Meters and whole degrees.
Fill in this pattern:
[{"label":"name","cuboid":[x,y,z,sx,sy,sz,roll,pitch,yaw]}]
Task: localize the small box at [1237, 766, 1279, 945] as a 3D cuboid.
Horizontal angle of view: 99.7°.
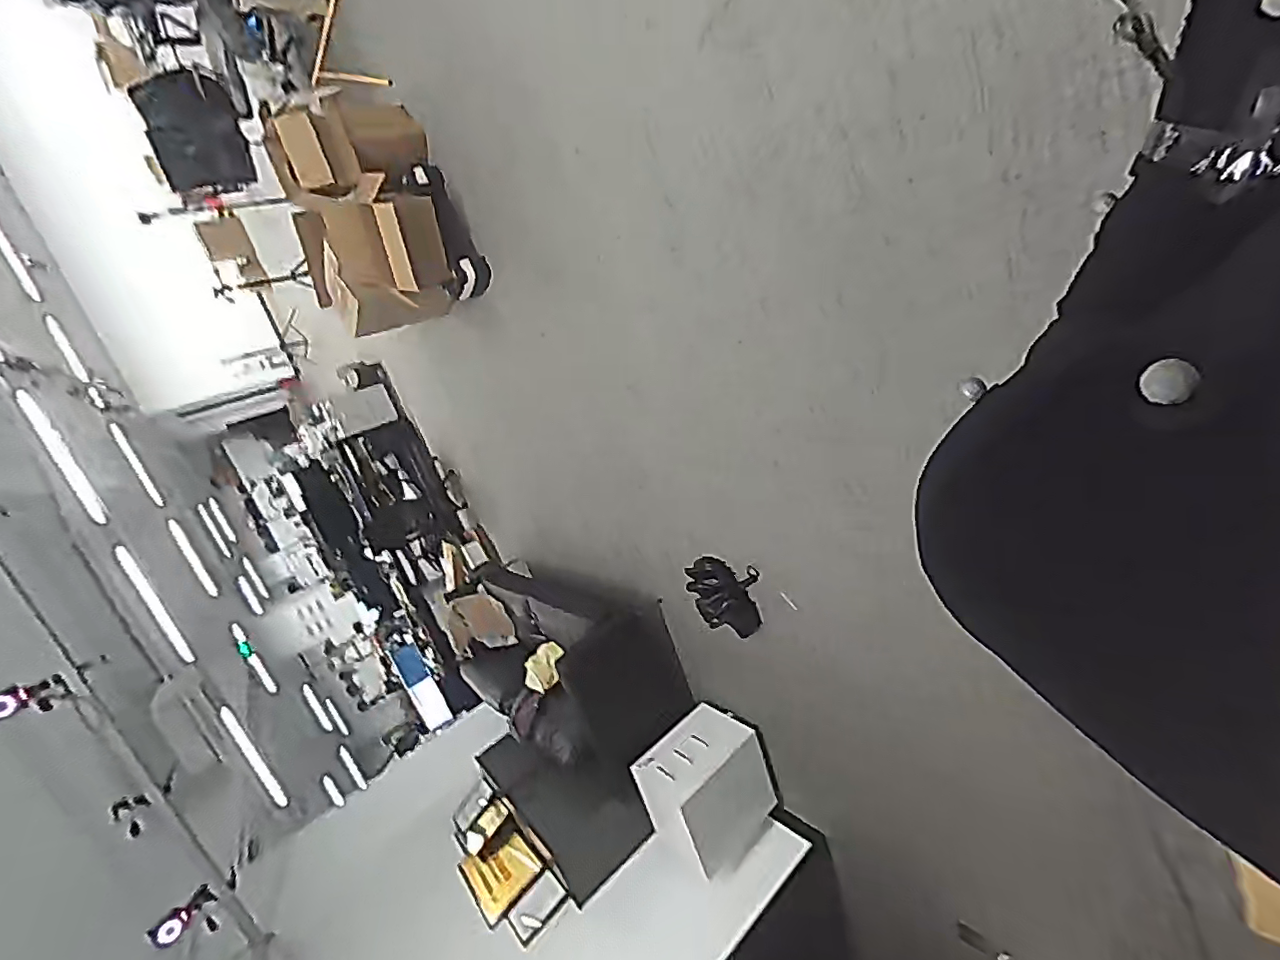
[{"label":"small box","cuboid":[0.956,0.534,0.735,0.168,0.176,0.179,-8,105,56]}]
